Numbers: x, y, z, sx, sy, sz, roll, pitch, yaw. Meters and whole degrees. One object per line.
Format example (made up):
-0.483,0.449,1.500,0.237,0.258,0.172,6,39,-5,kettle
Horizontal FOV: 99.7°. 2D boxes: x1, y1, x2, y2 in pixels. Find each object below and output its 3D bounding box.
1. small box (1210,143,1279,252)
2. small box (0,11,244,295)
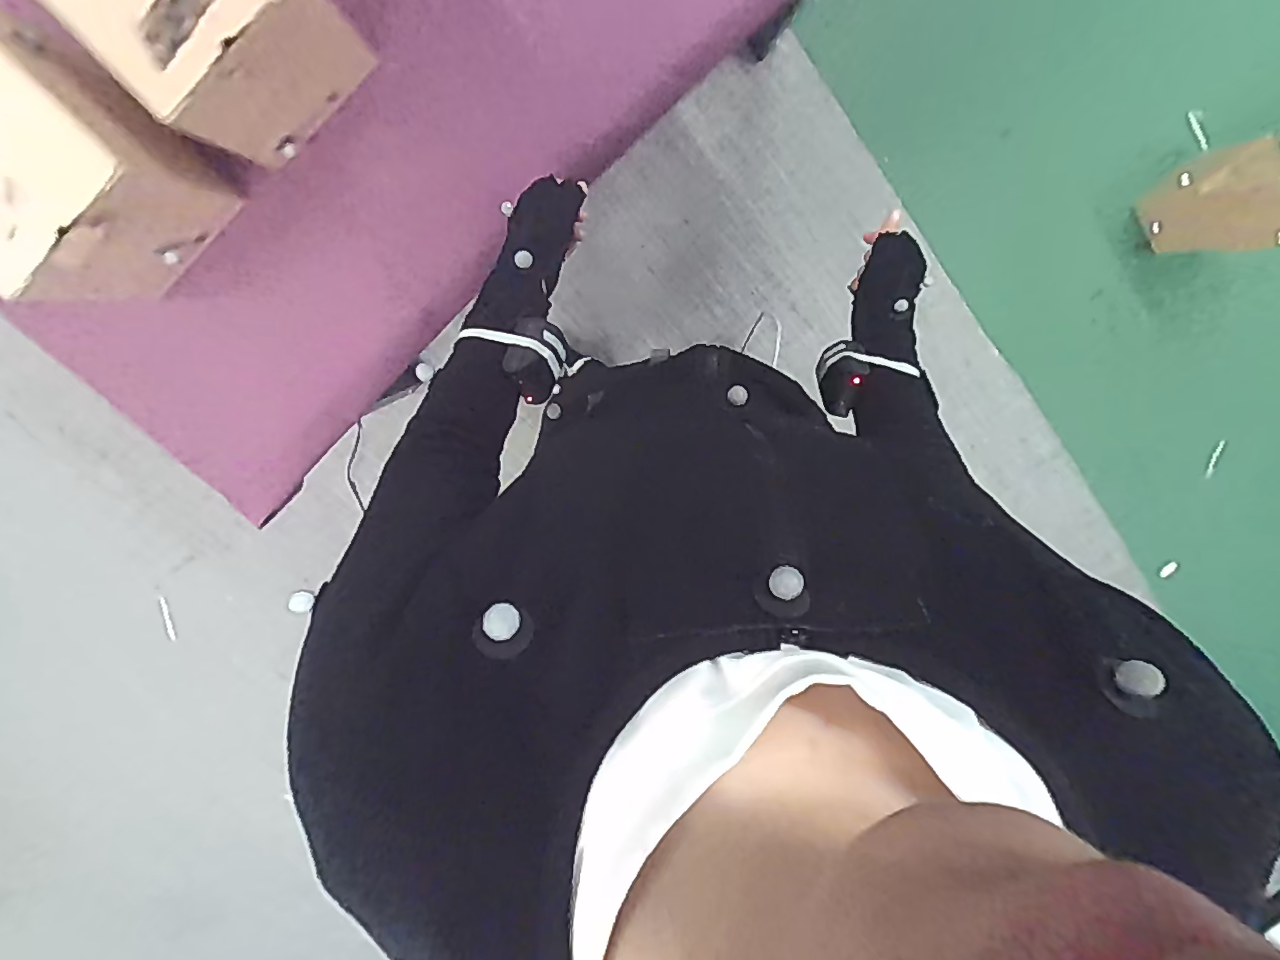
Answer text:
1.387,-0.609,1.145,0.168,0.176,0.179,-41,106,10,small box
-0.552,-0.297,0.524,0.168,0.176,0.179,-40,106,9,small box
